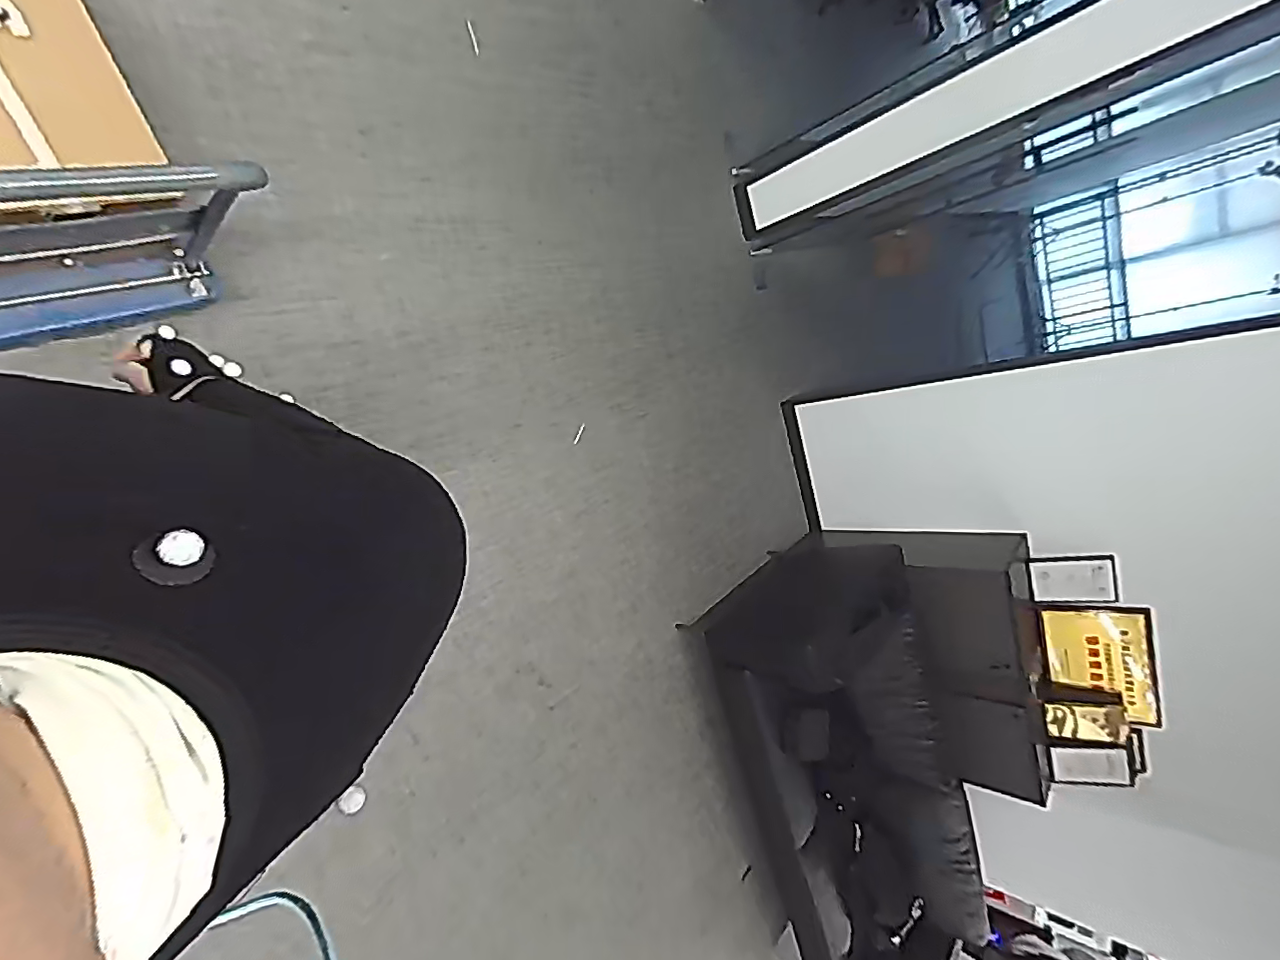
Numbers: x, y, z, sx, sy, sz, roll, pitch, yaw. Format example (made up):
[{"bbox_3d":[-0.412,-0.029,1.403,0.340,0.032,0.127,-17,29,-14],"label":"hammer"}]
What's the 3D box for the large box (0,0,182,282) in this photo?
[{"bbox_3d":[-1.065,-0.598,0.902,0.320,0.320,0.408,-35,111,-40],"label":"large box"}]
